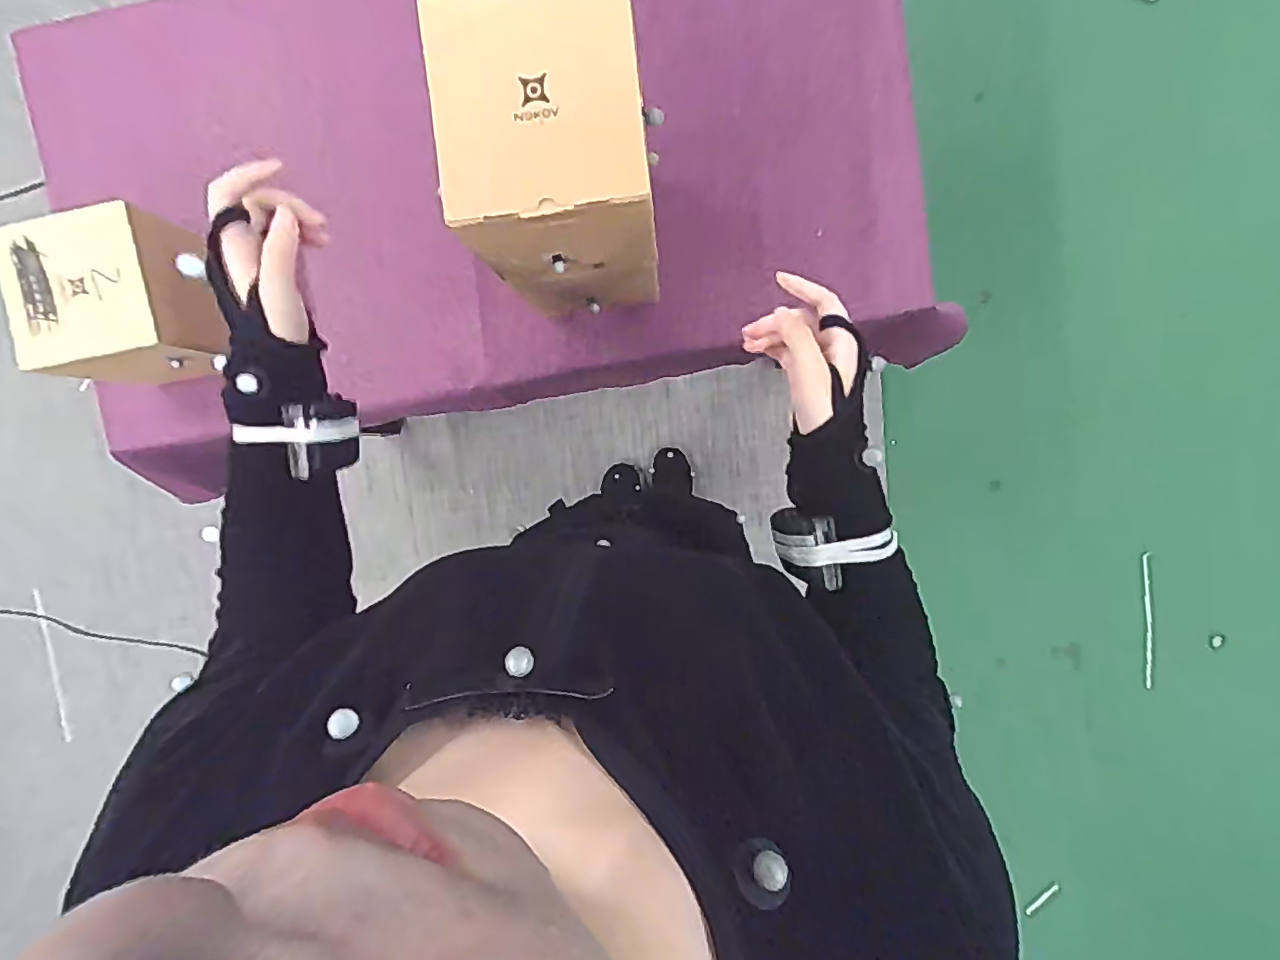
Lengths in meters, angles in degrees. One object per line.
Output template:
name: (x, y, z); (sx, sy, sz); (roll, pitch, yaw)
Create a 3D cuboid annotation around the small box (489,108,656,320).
small box: (-0.071, -0.309, 0.664); (0.168, 0.176, 0.179); (-6, 95, 4)
